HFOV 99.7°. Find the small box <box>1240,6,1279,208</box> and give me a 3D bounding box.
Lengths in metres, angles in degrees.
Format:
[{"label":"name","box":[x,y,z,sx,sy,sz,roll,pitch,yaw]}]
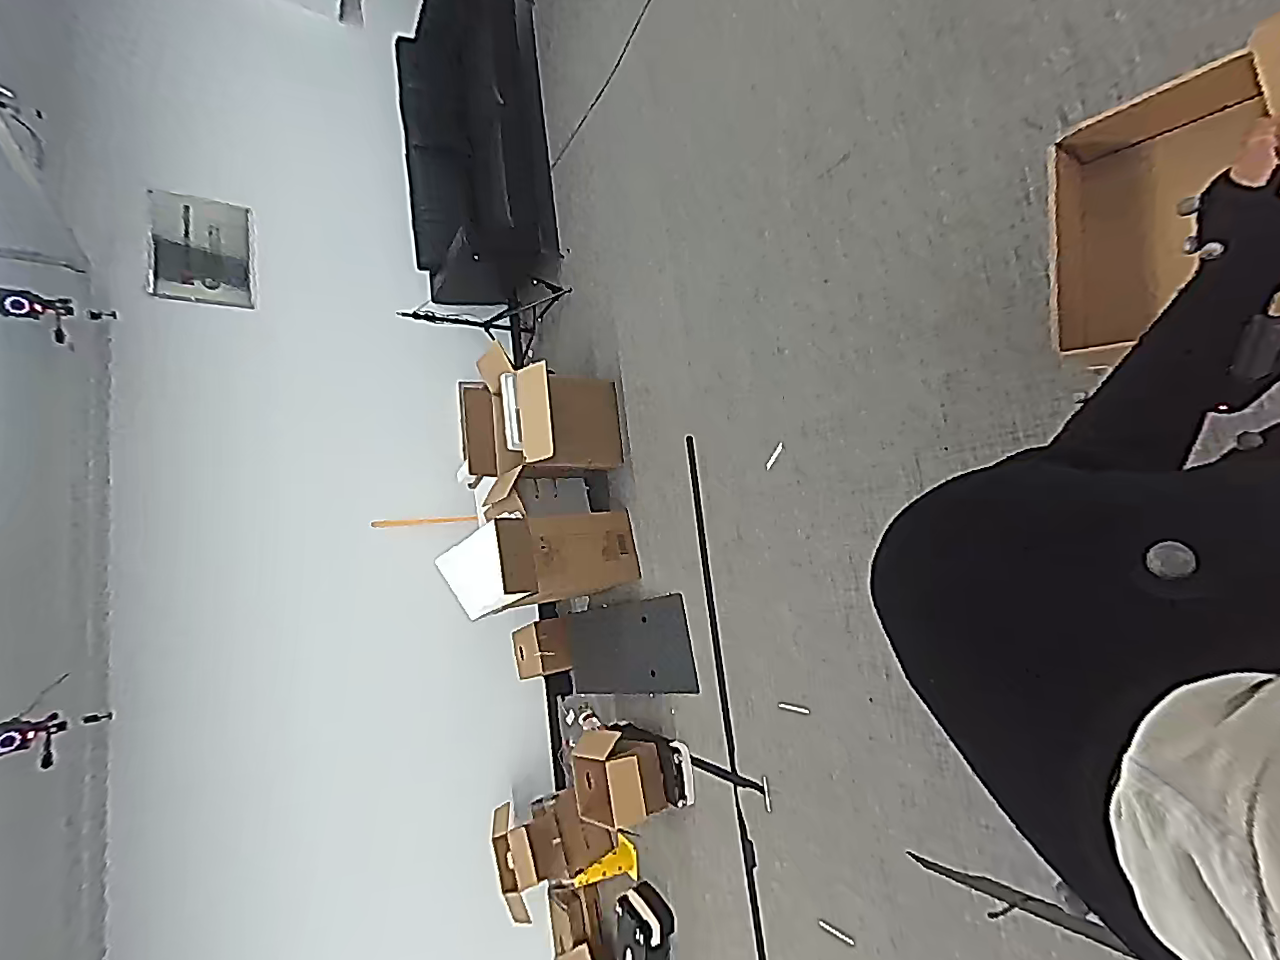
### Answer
[{"label":"small box","box":[0.629,-0.320,0.431,0.168,0.176,0.179,-15,90,57]}]
